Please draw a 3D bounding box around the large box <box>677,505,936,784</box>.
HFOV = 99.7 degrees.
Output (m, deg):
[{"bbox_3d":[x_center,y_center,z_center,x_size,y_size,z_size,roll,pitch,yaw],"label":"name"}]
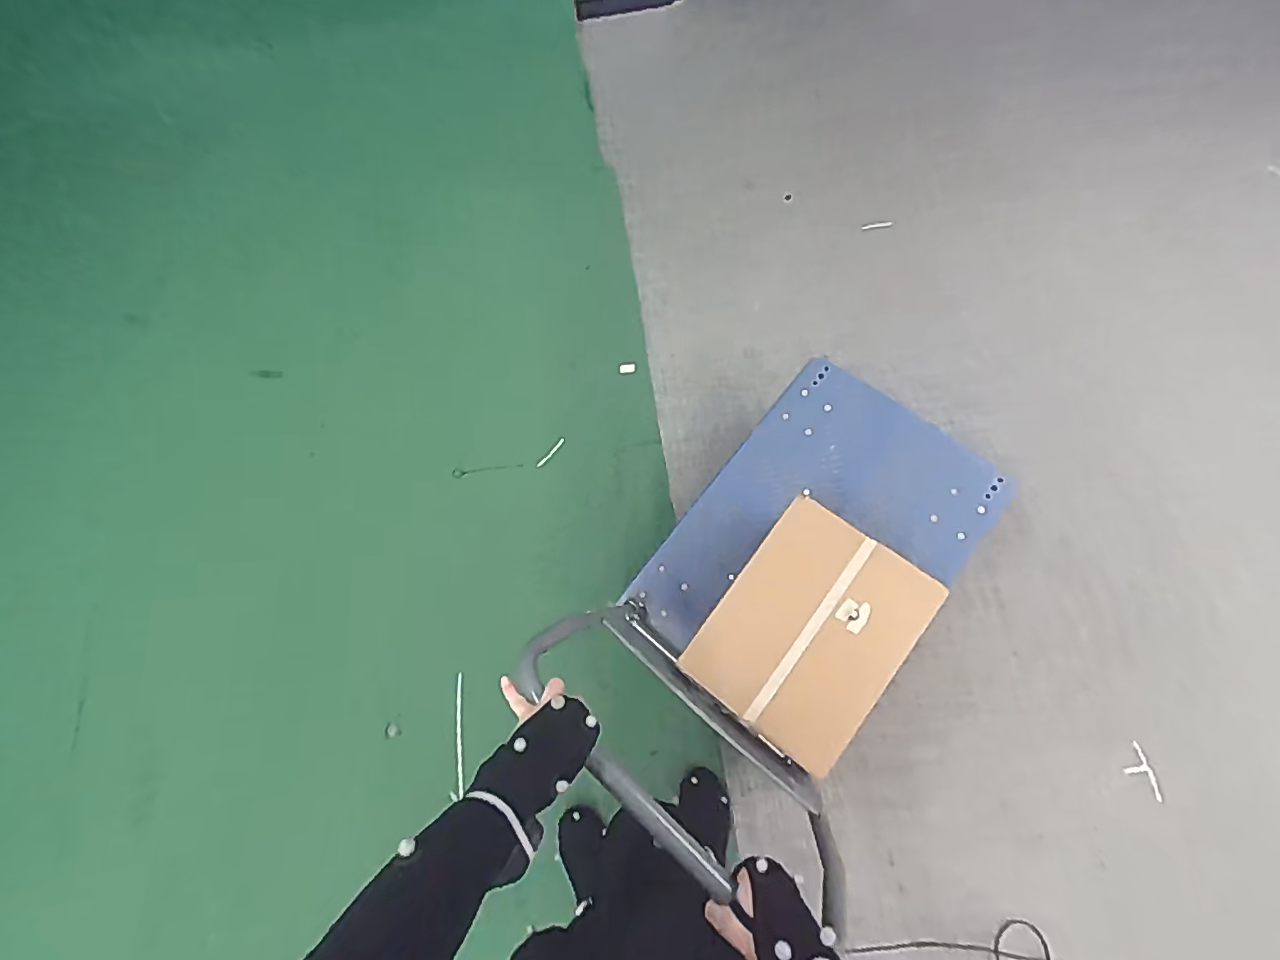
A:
[{"bbox_3d":[0.325,0.327,1.137,0.320,0.320,0.408,37,83,15],"label":"large box"}]
